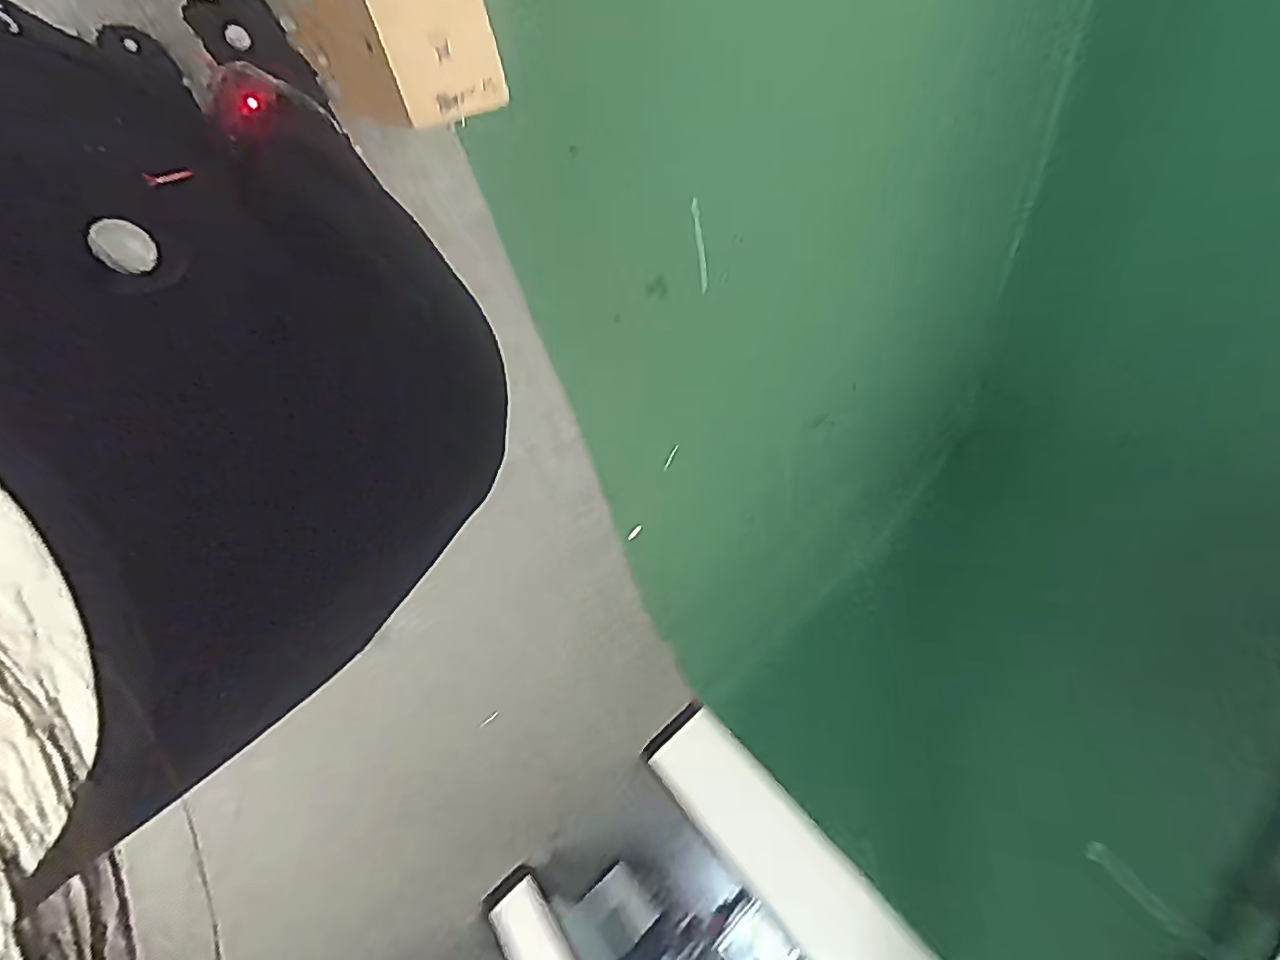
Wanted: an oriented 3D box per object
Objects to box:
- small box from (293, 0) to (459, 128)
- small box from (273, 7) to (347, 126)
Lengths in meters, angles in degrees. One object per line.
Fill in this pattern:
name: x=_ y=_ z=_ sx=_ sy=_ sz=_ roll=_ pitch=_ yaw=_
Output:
small box: x=-0.443 y=-0.716 z=0.912 sx=0.179 sy=0.176 sz=0.168 roll=-34 pitch=135 yaw=-21
small box: x=-0.548 y=-0.788 z=1.017 sx=0.179 sy=0.176 sz=0.168 roll=-34 pitch=135 yaw=-20
